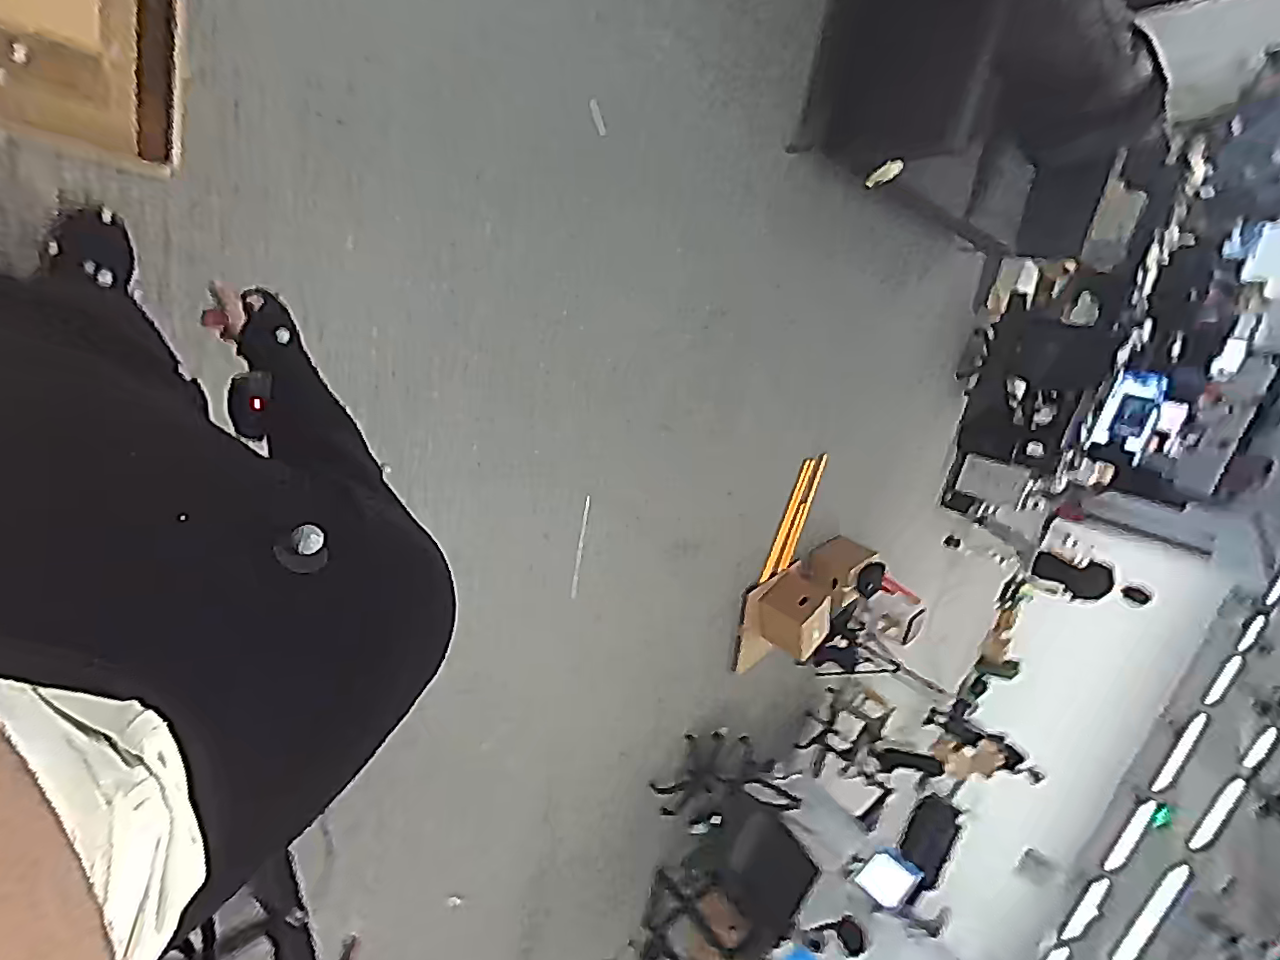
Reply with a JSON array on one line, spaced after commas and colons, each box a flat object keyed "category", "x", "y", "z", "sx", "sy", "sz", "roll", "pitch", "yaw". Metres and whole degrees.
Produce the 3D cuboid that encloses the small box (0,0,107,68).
[{"category": "small box", "x": -0.766, "y": -0.645, "z": 0.653, "sx": 0.168, "sy": 0.176, "sz": 0.179, "roll": -3, "pitch": 112, "yaw": -42}]
